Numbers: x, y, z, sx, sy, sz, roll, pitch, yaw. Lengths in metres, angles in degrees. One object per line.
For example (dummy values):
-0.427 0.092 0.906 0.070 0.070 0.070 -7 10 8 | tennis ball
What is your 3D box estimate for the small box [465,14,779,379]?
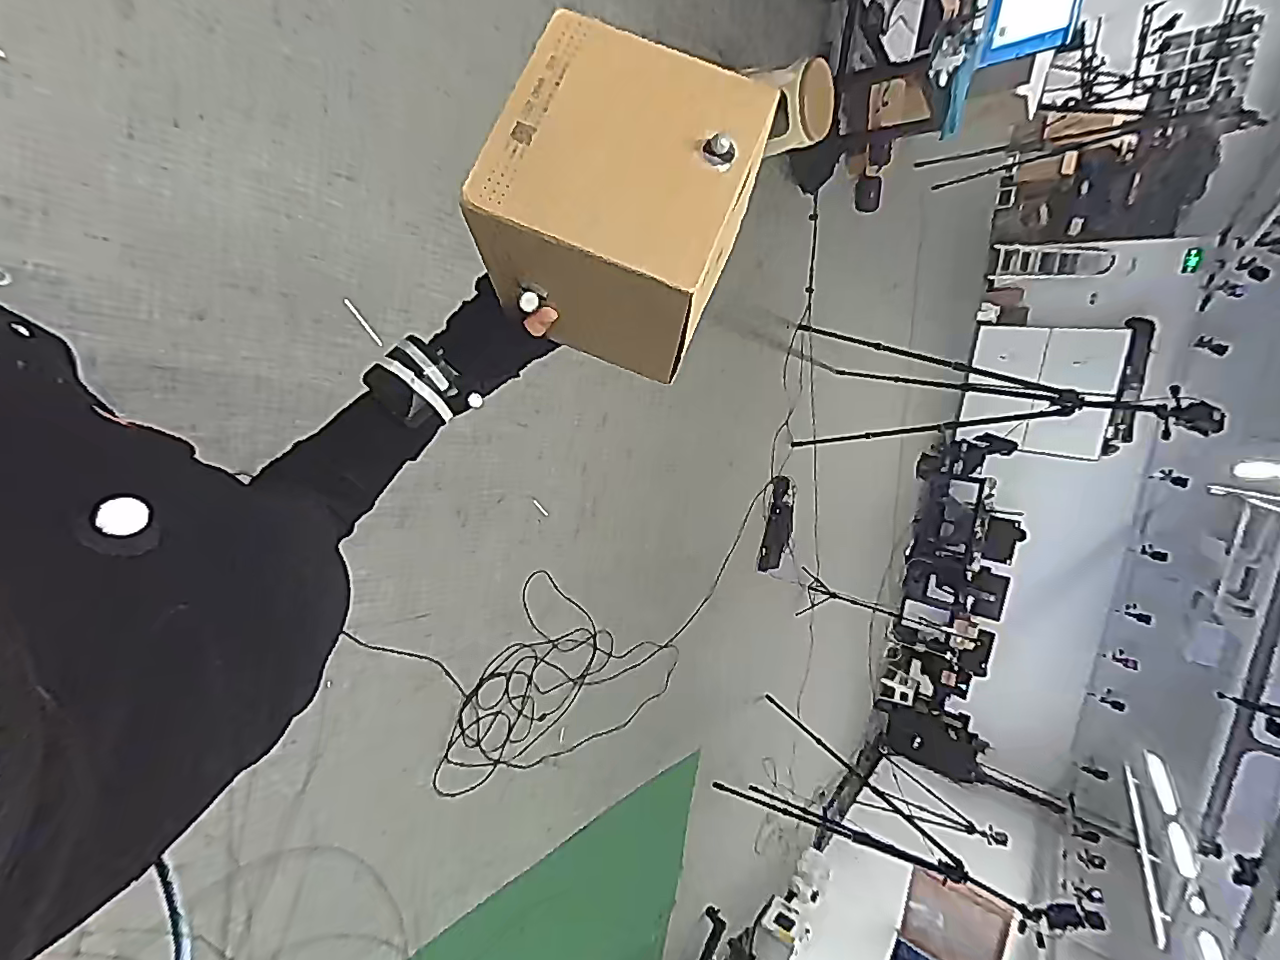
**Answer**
-0.016 -0.212 0.440 0.179 0.176 0.168 111 2 -80 | small box
